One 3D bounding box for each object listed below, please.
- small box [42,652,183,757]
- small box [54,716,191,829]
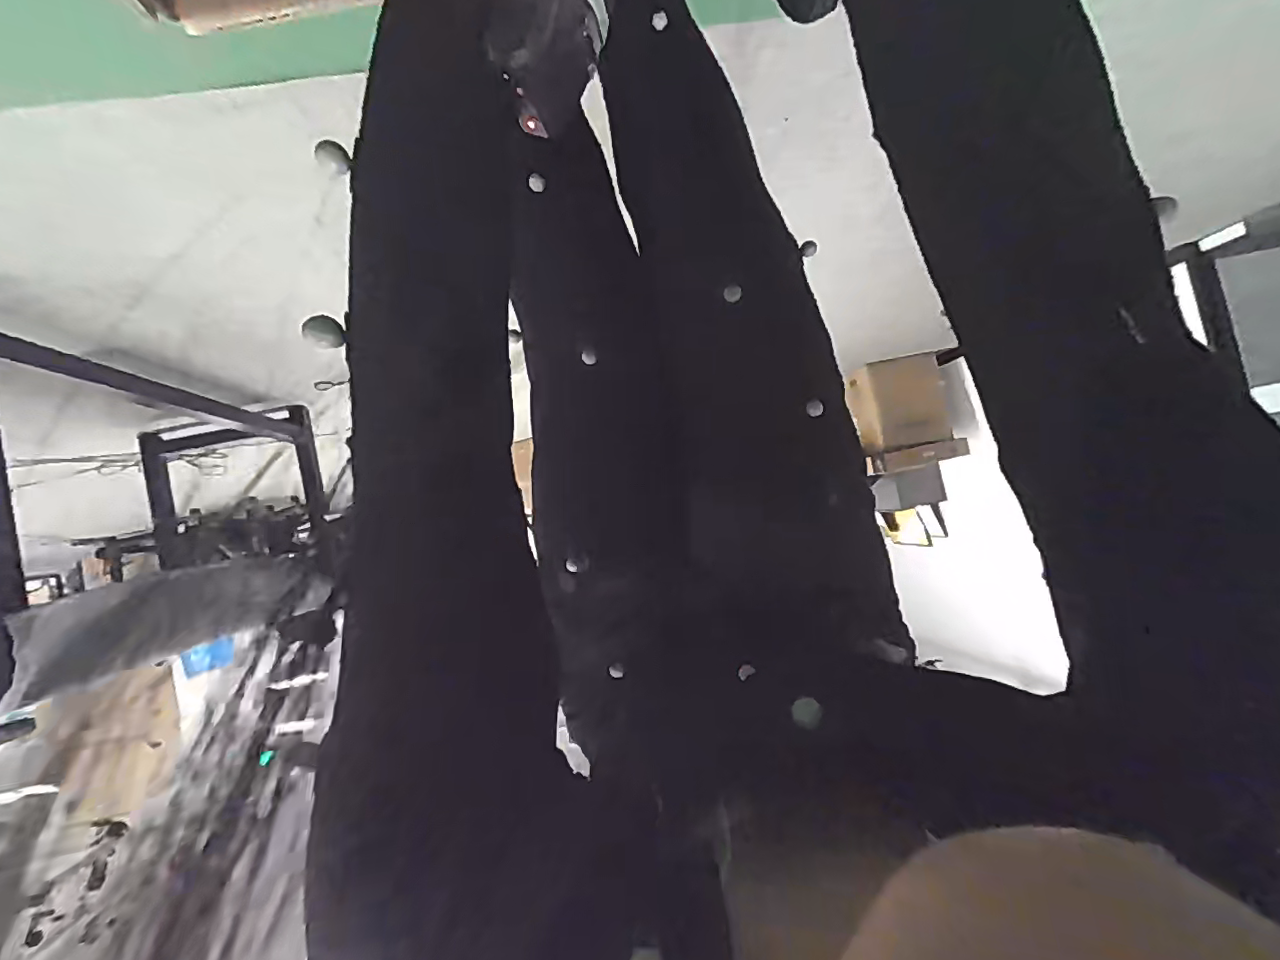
[{"bbox_3d":[-1.250,0.520,1.285,0.179,0.176,0.168,-11,177,-5],"label":"small box"},{"bbox_3d":[-1.231,0.684,1.289,0.179,0.176,0.168,-13,178,-3],"label":"small box"}]
